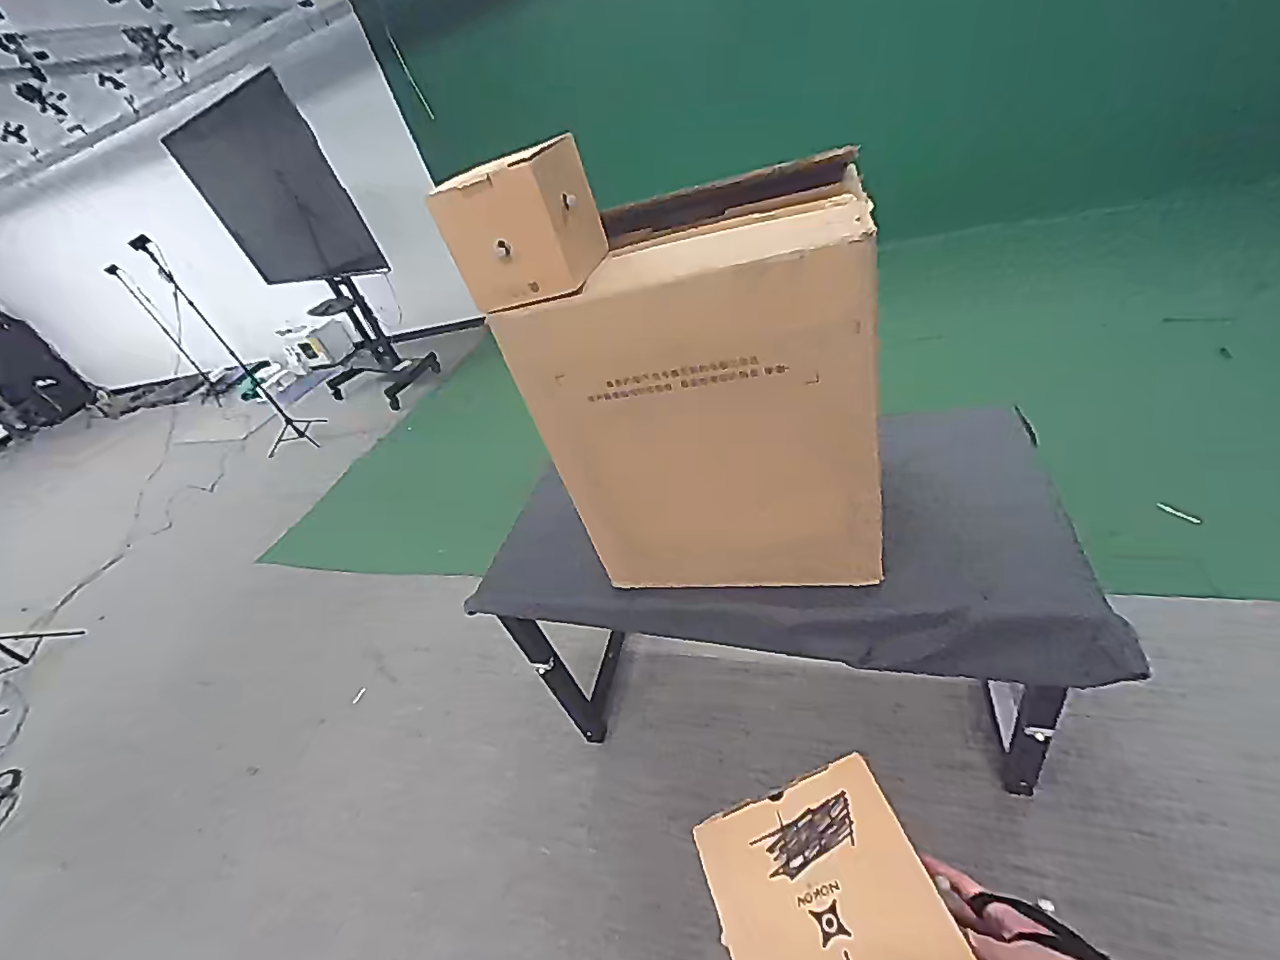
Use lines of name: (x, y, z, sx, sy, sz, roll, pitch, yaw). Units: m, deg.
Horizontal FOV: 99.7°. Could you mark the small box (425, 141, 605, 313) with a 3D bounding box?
small box: (-0.166, -0.357, 0.787, 0.168, 0.176, 0.179, -6, 39, 21)
